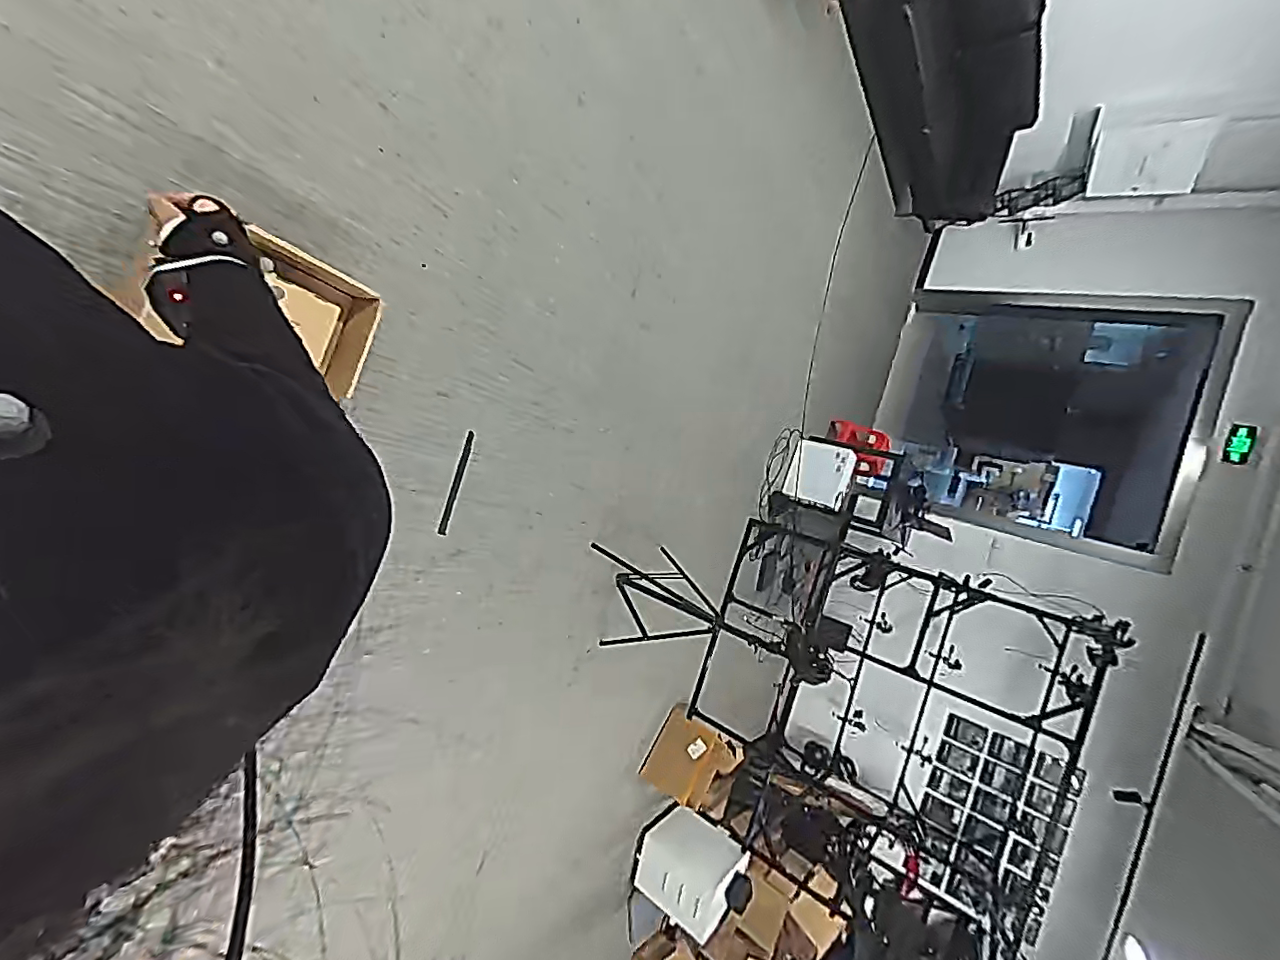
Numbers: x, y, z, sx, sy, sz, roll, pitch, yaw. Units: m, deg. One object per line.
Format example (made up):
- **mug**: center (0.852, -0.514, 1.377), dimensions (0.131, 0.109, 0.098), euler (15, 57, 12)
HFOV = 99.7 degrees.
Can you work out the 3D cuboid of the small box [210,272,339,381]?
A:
- **small box**: center (-0.804, -0.338, 1.185), dimensions (0.168, 0.176, 0.179), euler (21, 88, -52)
